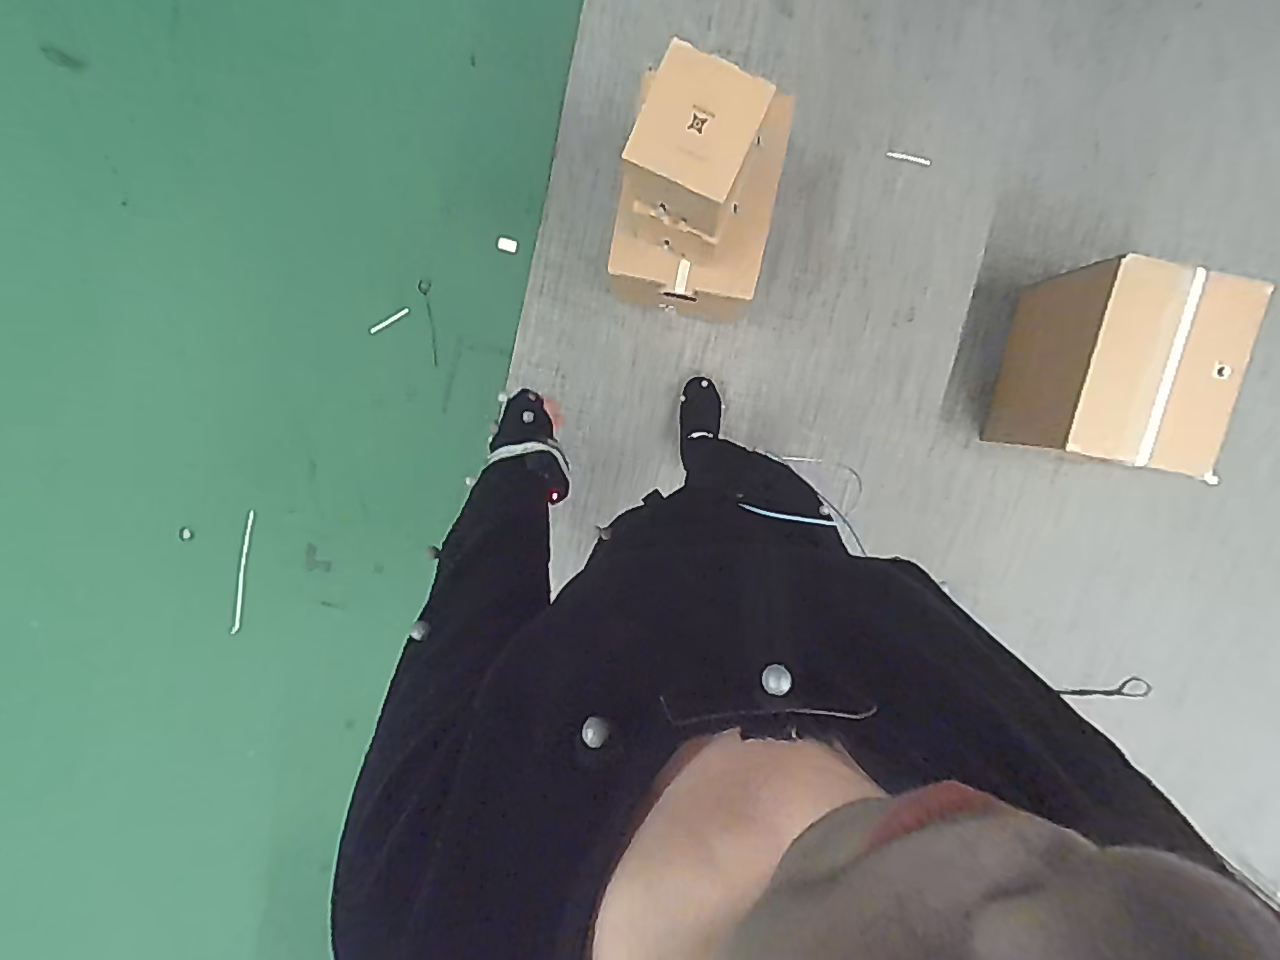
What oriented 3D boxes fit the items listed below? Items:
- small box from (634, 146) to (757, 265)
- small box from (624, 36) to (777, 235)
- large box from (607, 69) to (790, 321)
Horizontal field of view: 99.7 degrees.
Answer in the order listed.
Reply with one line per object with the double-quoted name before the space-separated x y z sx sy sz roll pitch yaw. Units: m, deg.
"small box" 0.097 -0.533 1.010 0.168 0.176 0.179 22 98 -1
"small box" 0.088 -0.522 0.848 0.168 0.176 0.179 26 99 0
"large box" 0.122 -0.615 1.244 0.320 0.320 0.408 11 97 0
